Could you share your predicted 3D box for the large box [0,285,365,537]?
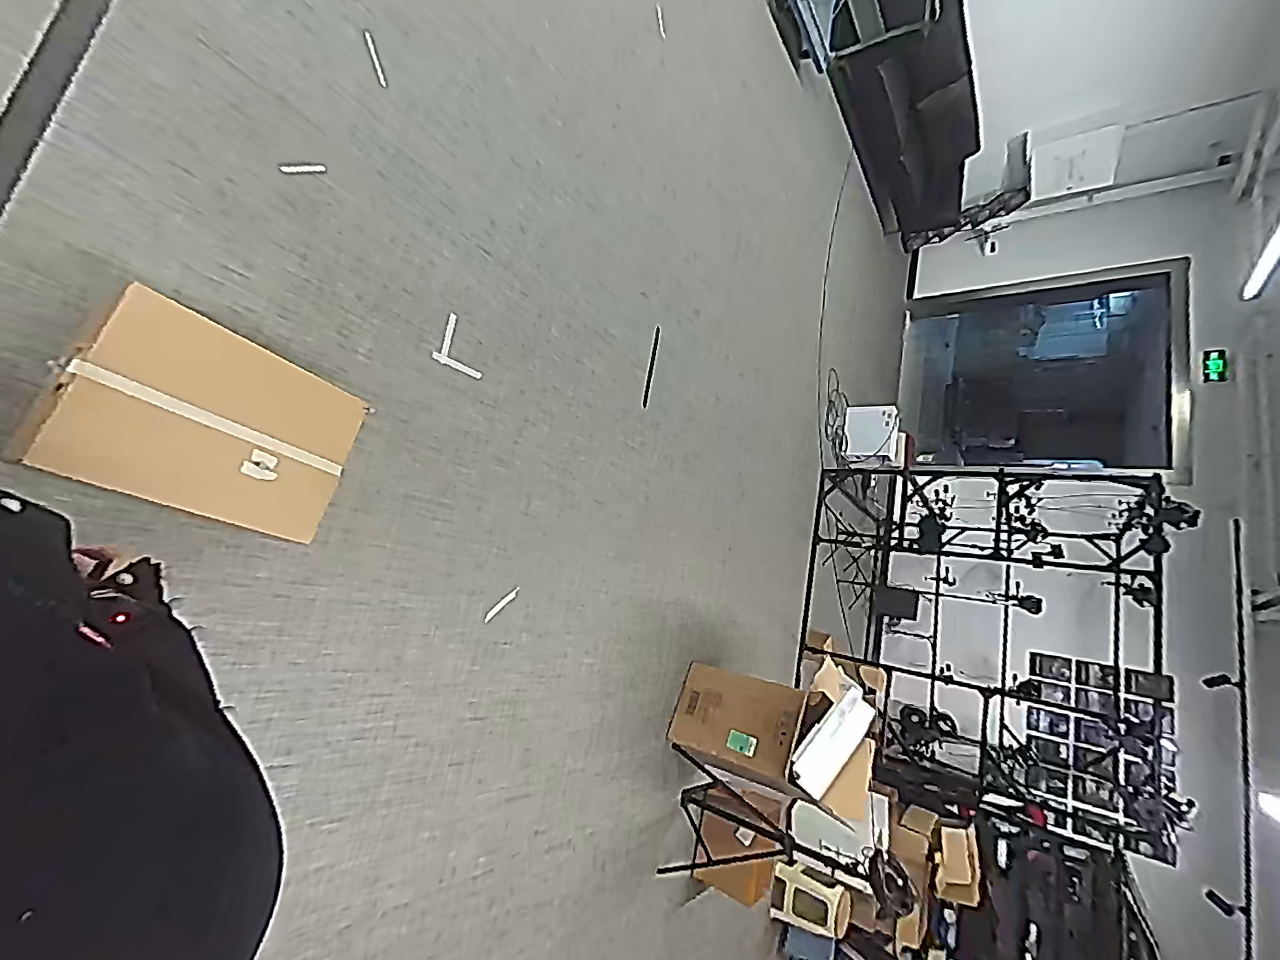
[{"bbox_3d":[-0.840,-0.101,1.030,0.408,0.320,0.320,35,65,-50],"label":"large box"}]
